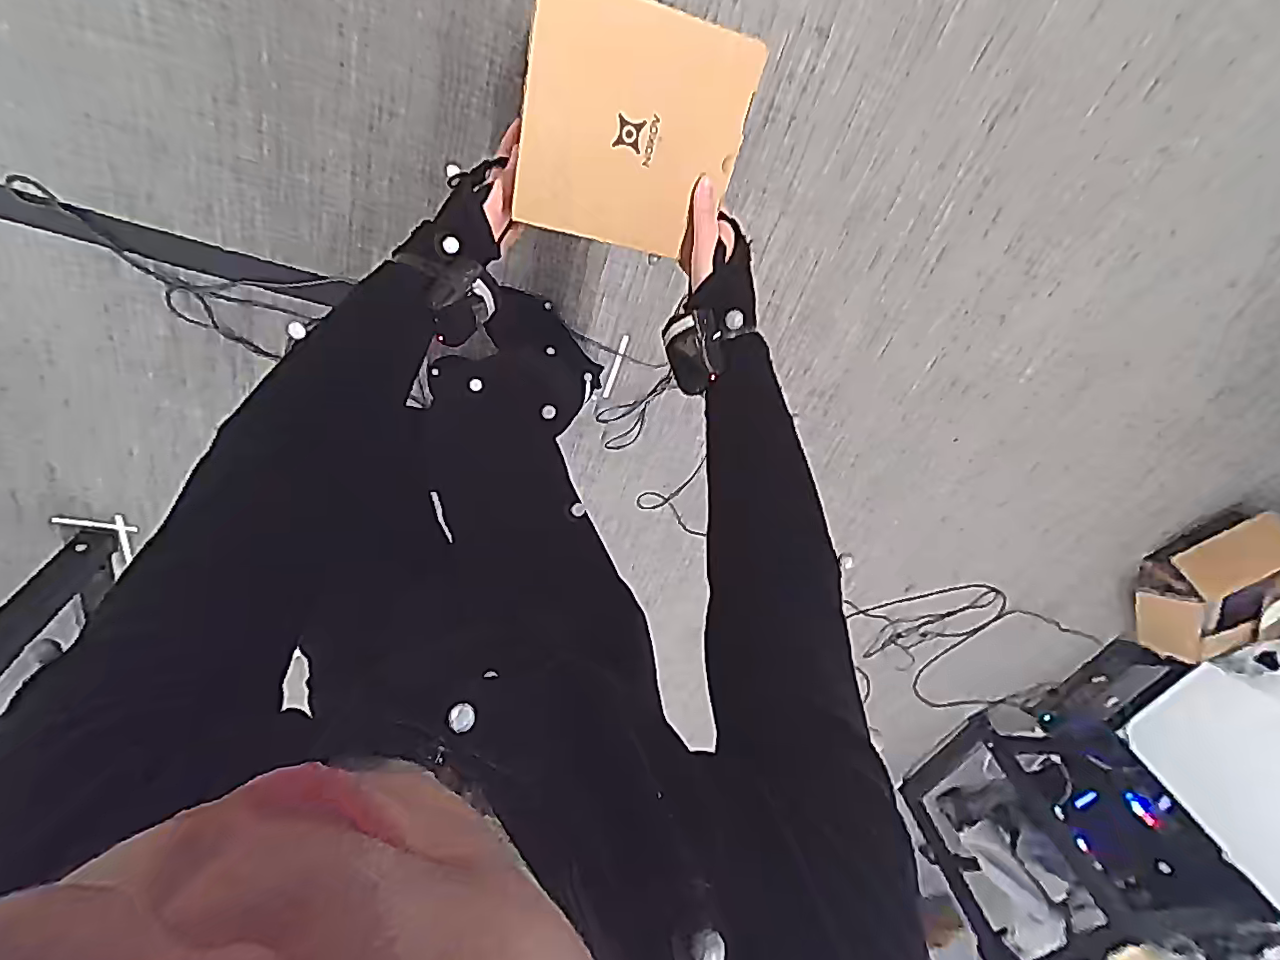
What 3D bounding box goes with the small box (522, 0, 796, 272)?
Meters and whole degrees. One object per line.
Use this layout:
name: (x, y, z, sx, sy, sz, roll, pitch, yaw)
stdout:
small box: (0.006, -0.279, 0.459, 0.168, 0.176, 0.179, -6, 111, -31)
